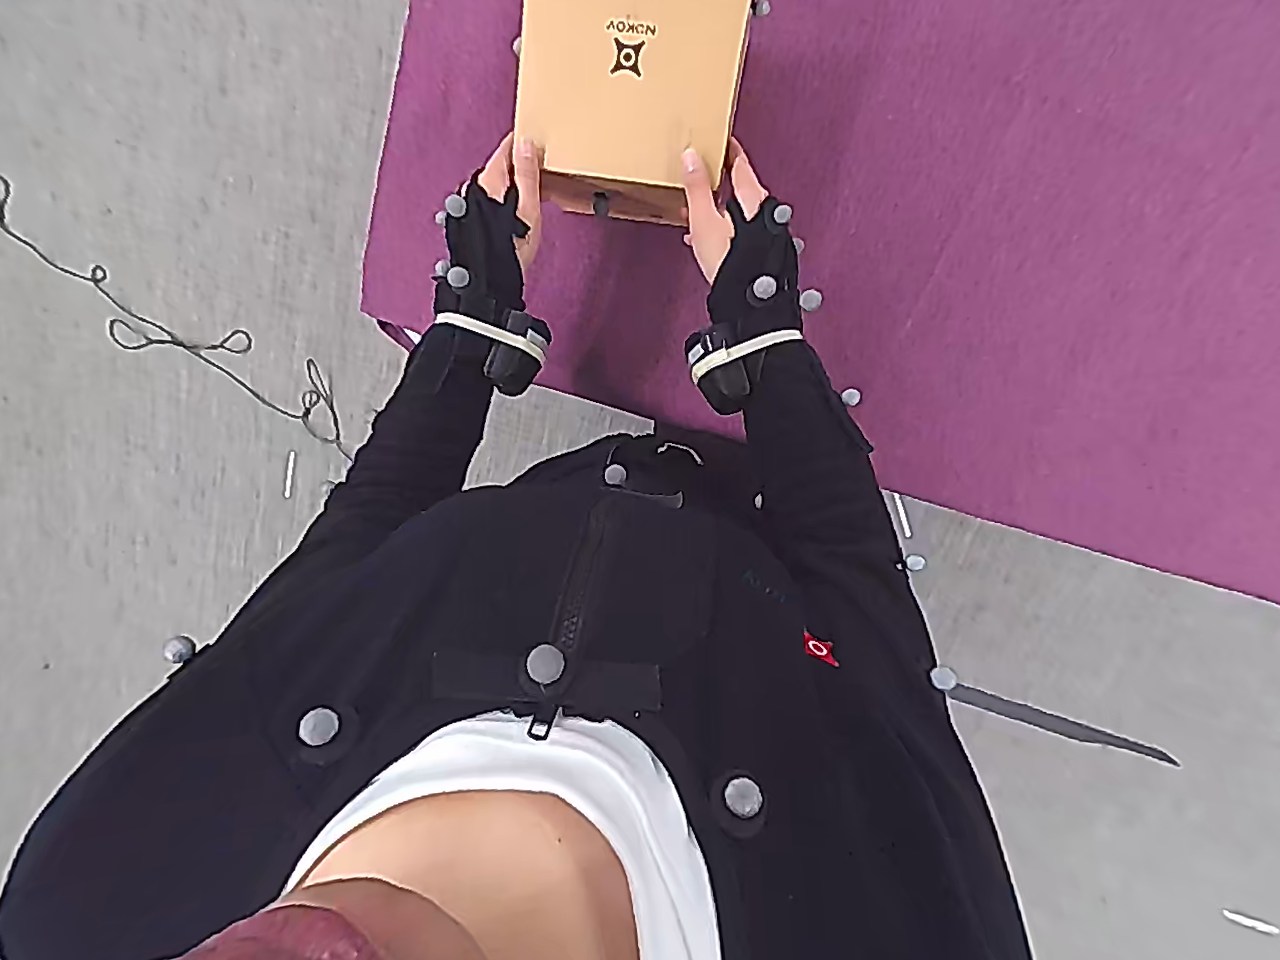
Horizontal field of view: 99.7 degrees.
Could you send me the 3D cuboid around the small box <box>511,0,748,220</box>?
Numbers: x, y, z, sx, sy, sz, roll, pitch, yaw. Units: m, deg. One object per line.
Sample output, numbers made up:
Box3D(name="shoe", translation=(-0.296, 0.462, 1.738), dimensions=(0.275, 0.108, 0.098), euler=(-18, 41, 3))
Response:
Box3D(name="small box", translation=(0.000, -0.342, 0.472), dimensions=(0.168, 0.176, 0.179), euler=(9, 105, 4))
